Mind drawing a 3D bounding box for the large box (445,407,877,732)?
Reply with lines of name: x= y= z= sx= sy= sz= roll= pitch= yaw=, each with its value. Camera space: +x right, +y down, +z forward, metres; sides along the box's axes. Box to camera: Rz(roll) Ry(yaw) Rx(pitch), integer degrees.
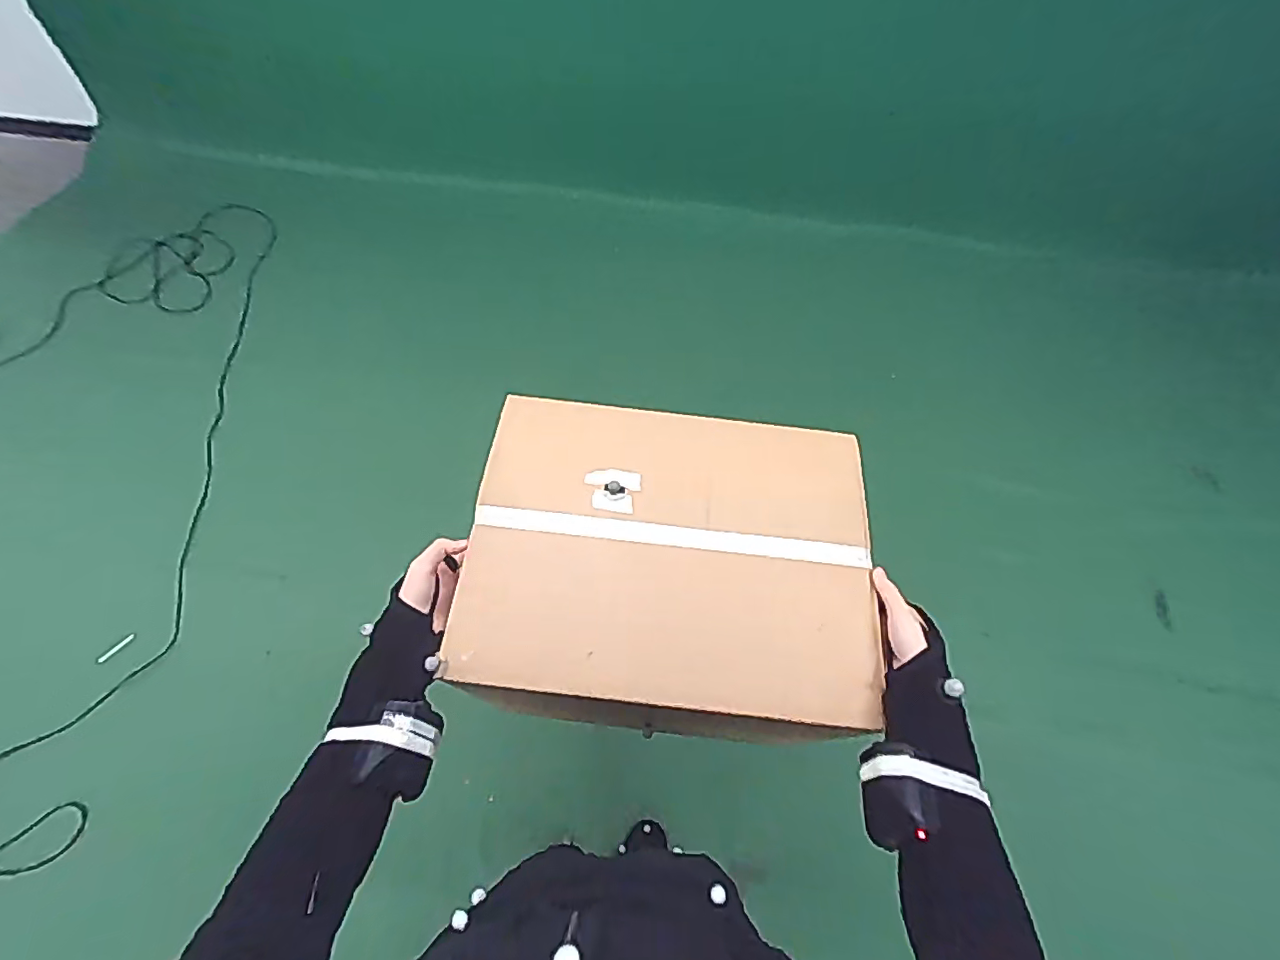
large box: x=0.027 y=0.134 z=0.692 sx=0.408 sy=0.320 sz=0.320 roll=6 pitch=61 yaw=1
